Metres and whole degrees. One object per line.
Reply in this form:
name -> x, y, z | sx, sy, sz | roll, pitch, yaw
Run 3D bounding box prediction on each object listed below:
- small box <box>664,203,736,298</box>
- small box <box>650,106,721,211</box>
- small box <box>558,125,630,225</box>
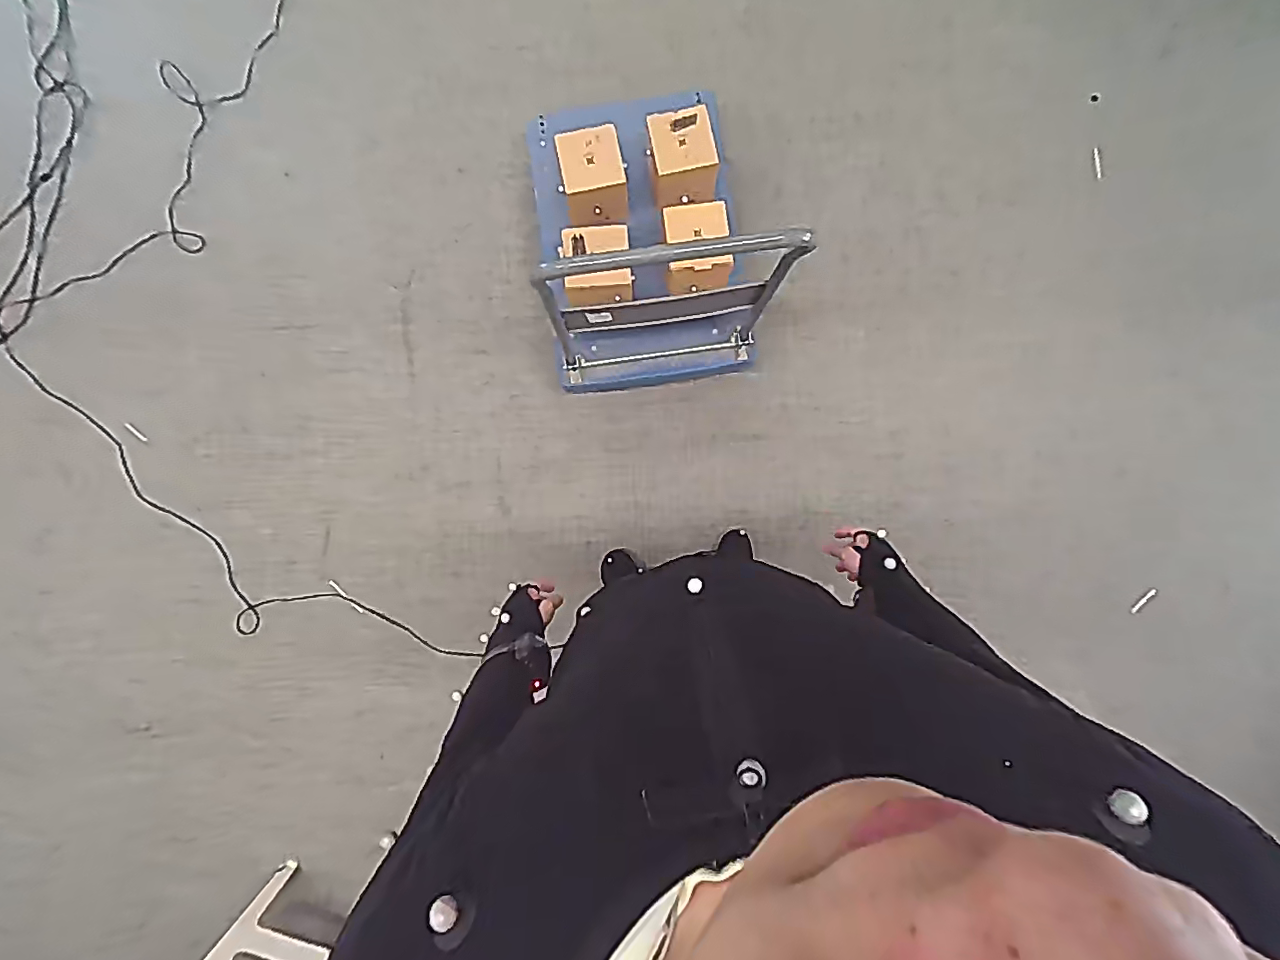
small box -> 0.159, -0.626, 1.487 | 0.168, 0.176, 0.179 | -7, 84, 0
small box -> 0.122, -0.893, 1.514 | 0.168, 0.176, 0.179 | -11, 85, 1
small box -> -0.124, -0.841, 1.513 | 0.168, 0.176, 0.179 | -11, 84, -1
